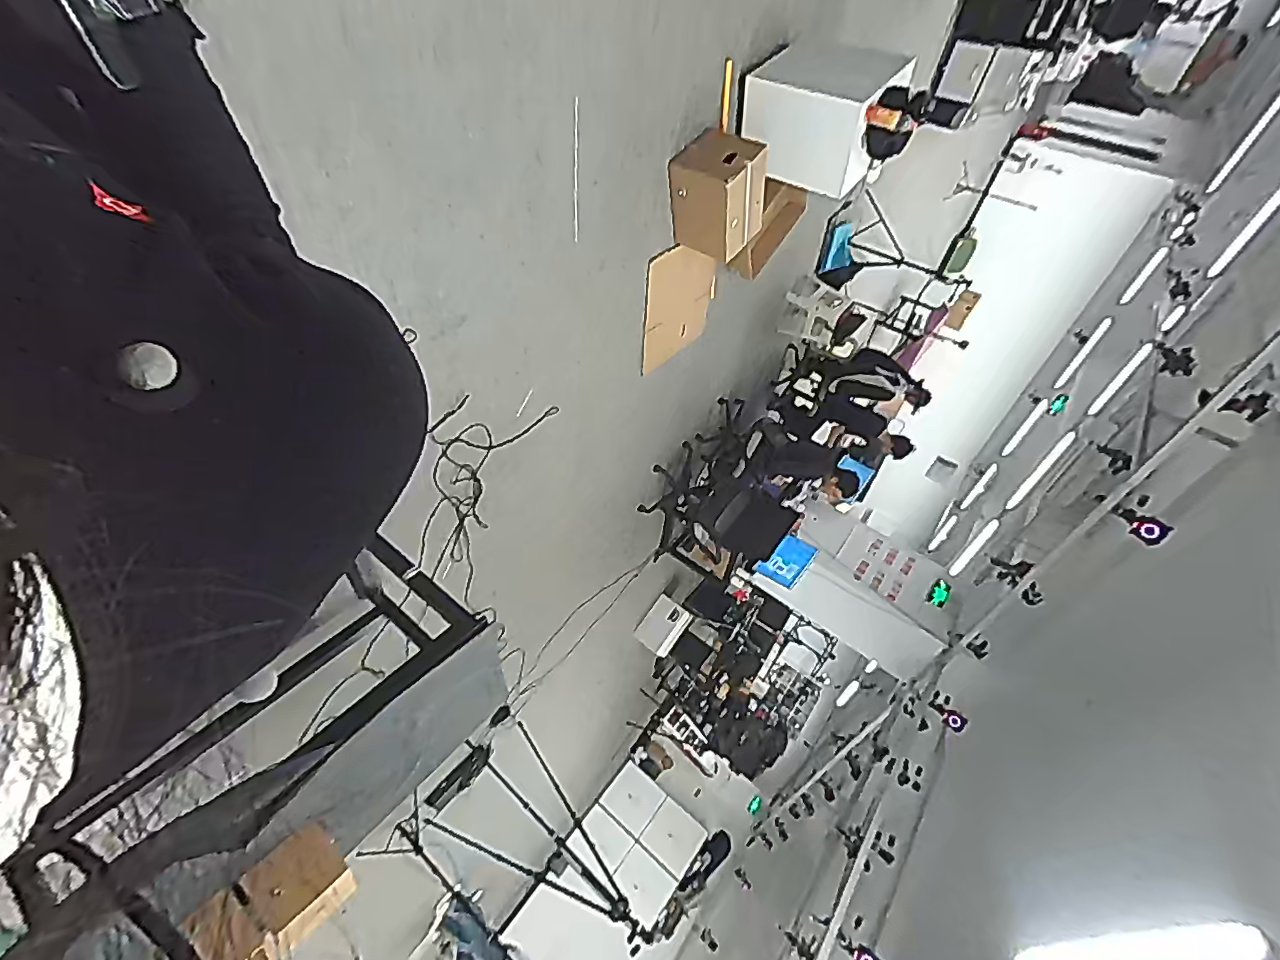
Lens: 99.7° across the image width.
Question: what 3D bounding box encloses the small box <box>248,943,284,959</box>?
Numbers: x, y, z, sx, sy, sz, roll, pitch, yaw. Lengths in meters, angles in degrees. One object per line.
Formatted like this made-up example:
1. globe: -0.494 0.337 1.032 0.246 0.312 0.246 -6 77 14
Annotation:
1. small box: -0.816 1.138 1.137 0.179 0.176 0.168 -31 145 -45
